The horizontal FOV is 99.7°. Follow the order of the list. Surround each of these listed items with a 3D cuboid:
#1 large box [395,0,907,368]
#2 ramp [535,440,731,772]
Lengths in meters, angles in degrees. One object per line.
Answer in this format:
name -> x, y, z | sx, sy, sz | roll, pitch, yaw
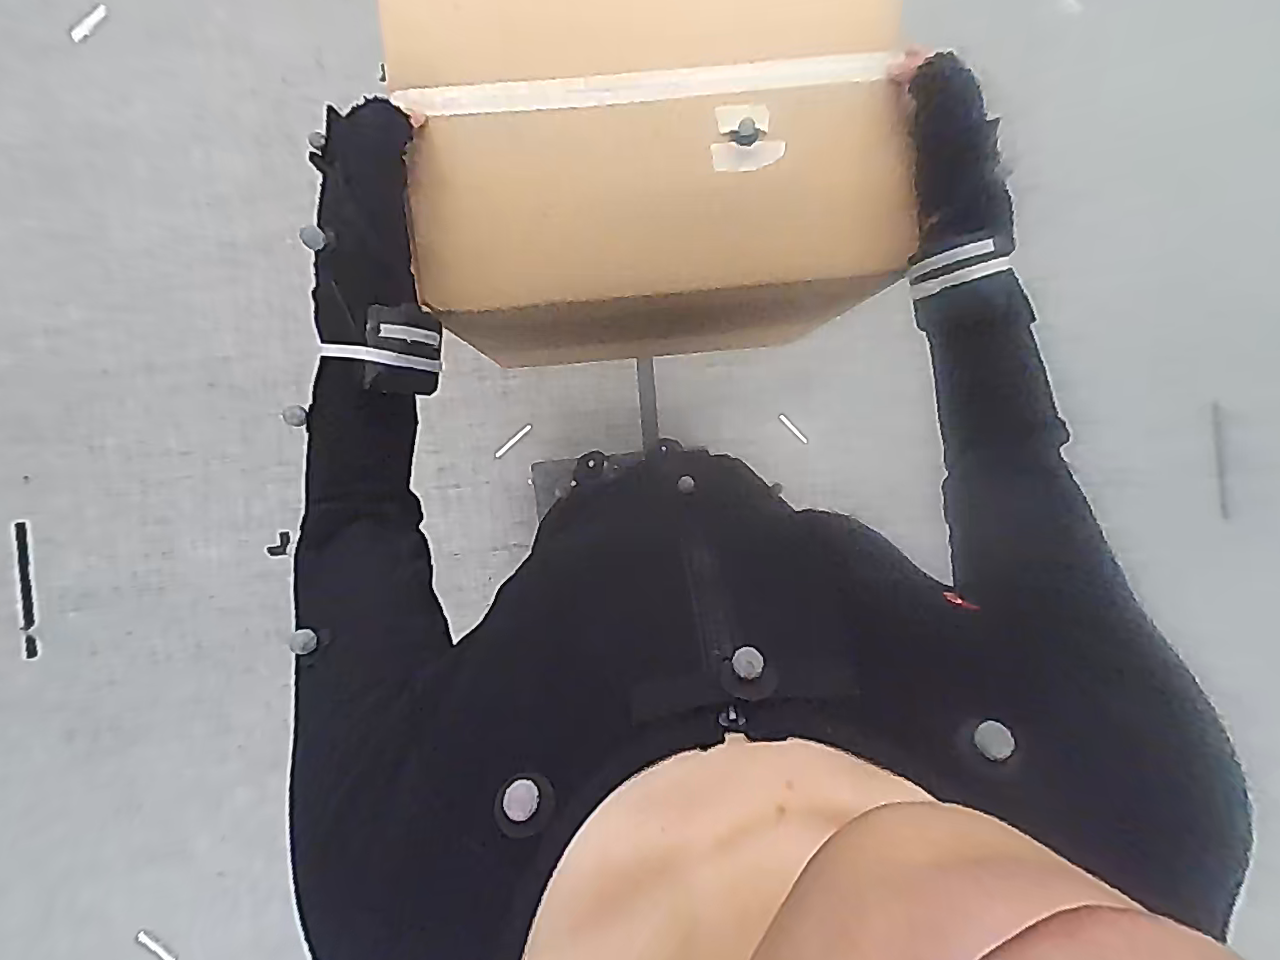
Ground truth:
large box -> 0.004, -0.319, 0.588 | 0.408, 0.320, 0.320 | -6, 94, -3
ramp -> 0.002, 0.395, 1.586 | 0.509, 0.206, 0.991 | -8, 92, -3
